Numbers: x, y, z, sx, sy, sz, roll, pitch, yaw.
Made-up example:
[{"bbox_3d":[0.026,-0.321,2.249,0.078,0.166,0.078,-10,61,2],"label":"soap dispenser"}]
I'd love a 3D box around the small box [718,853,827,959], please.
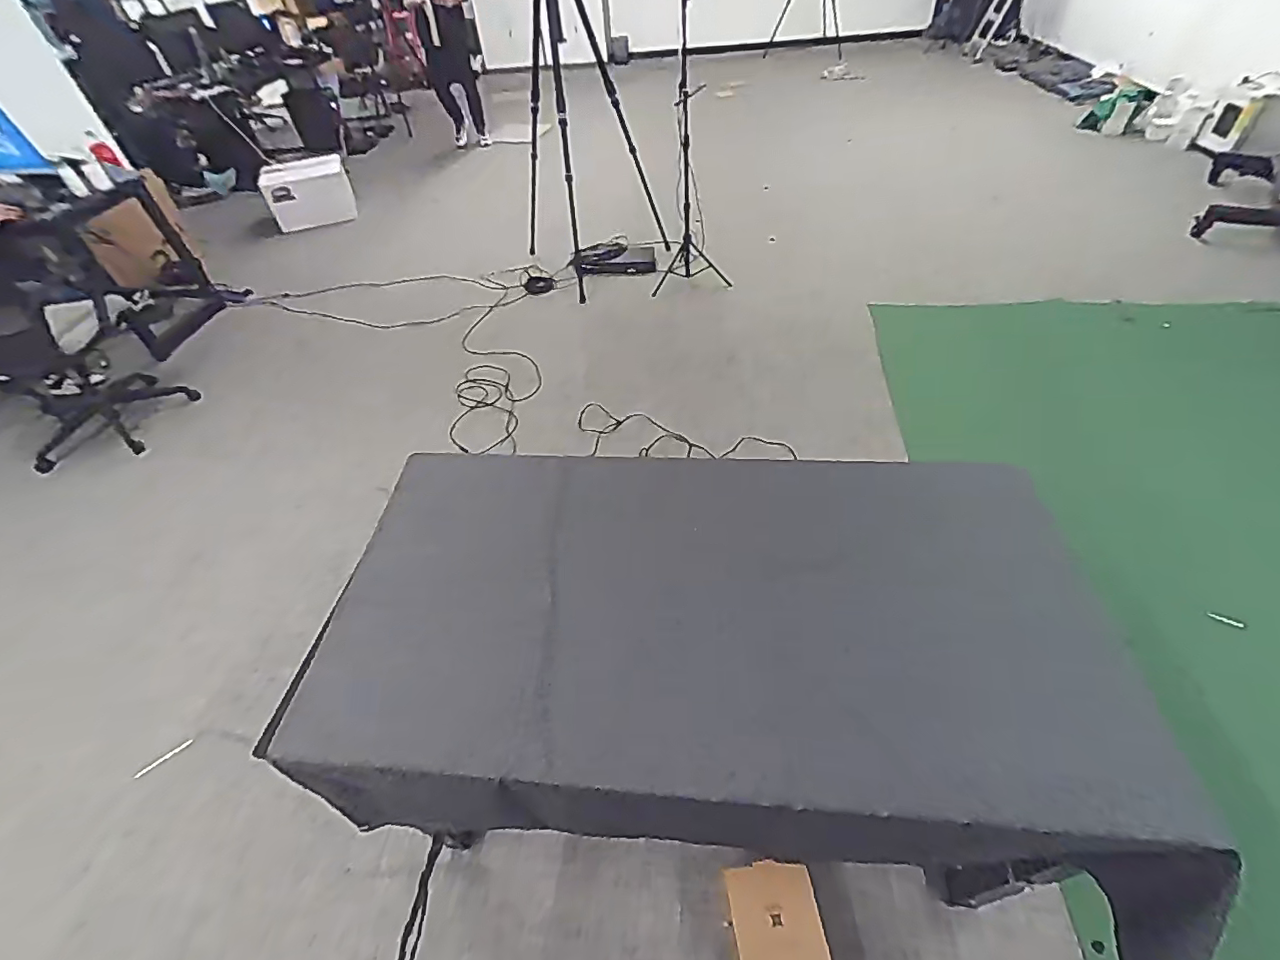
[{"bbox_3d":[0.255,0.877,1.083,0.168,0.176,0.179,-7,46,-1],"label":"small box"}]
